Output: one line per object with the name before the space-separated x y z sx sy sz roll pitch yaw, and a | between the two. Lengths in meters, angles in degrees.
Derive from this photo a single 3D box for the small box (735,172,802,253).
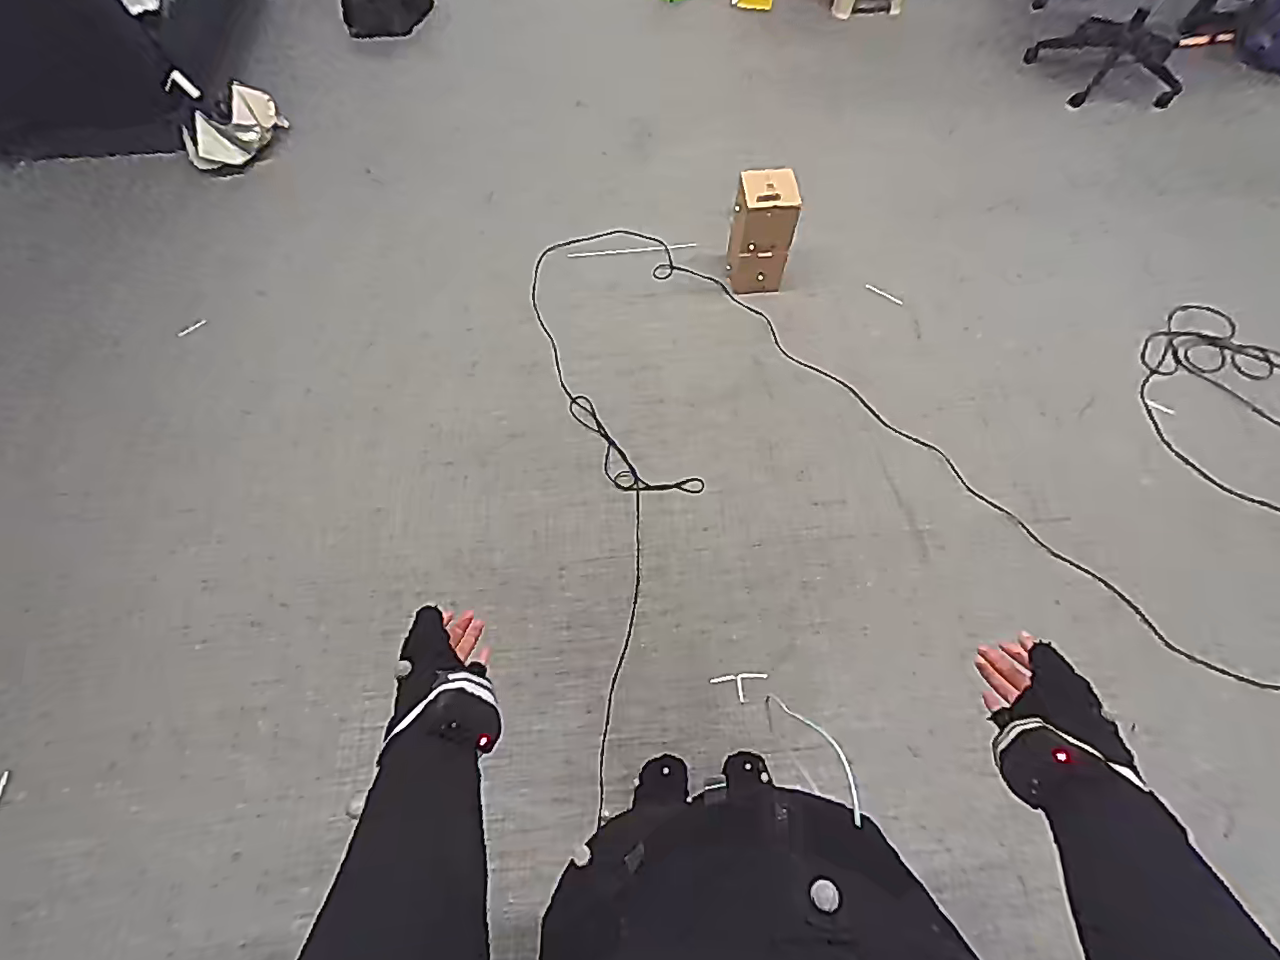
small box | 0.402 -0.843 1.718 0.168 0.176 0.179 -3 63 0

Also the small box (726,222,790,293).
small box | 0.402 -0.765 1.866 0.168 0.176 0.179 -5 65 -4
